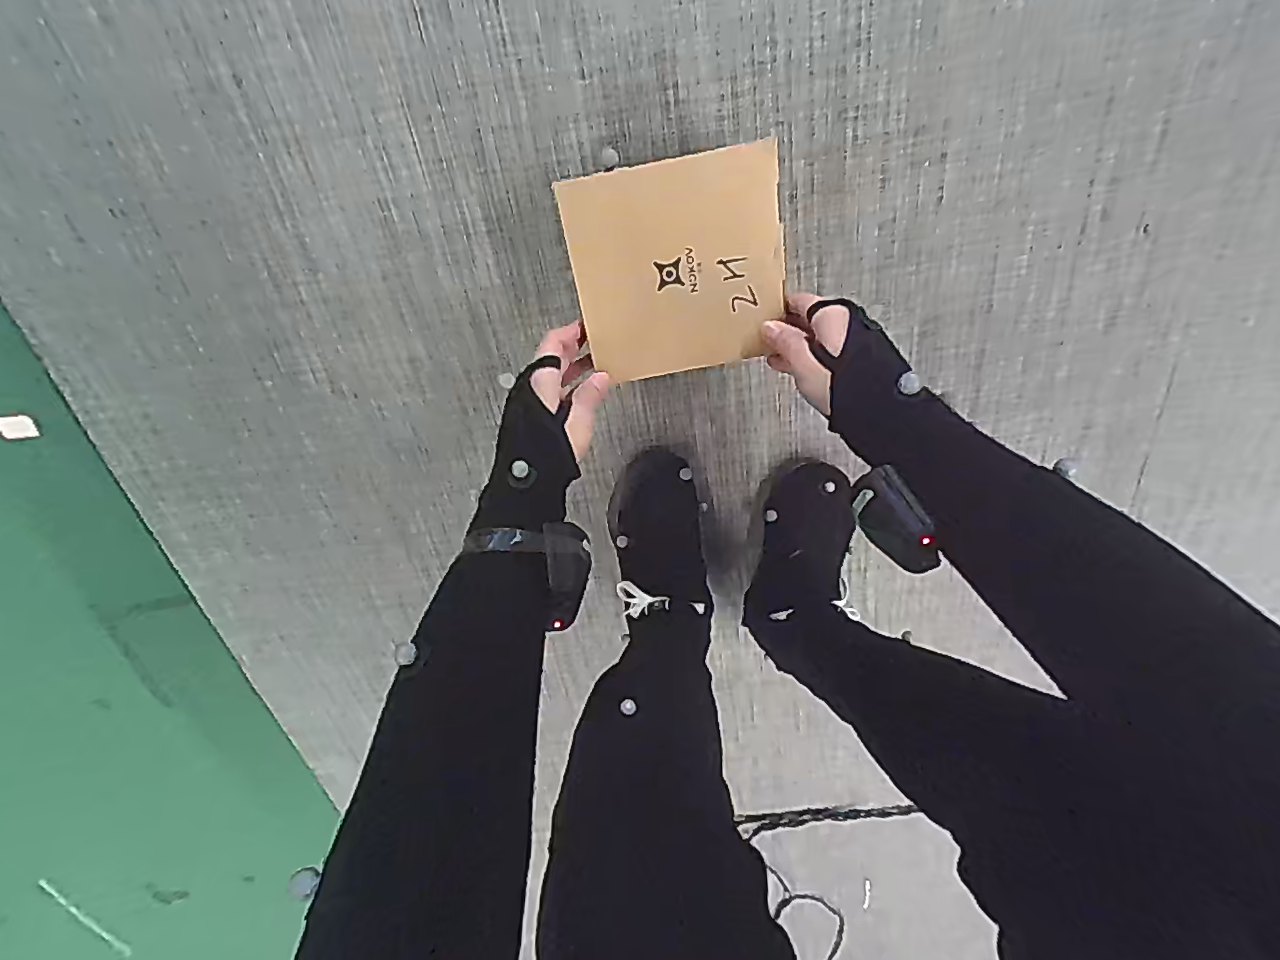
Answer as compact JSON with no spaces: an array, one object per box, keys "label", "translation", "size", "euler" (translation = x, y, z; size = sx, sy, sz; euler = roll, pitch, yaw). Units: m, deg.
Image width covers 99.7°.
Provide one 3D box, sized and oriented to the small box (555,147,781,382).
[{"label":"small box","translation":[0.027,-0.209,0.531],"size":[0.179,0.176,0.168],"euler":[-10,117,2]}]
